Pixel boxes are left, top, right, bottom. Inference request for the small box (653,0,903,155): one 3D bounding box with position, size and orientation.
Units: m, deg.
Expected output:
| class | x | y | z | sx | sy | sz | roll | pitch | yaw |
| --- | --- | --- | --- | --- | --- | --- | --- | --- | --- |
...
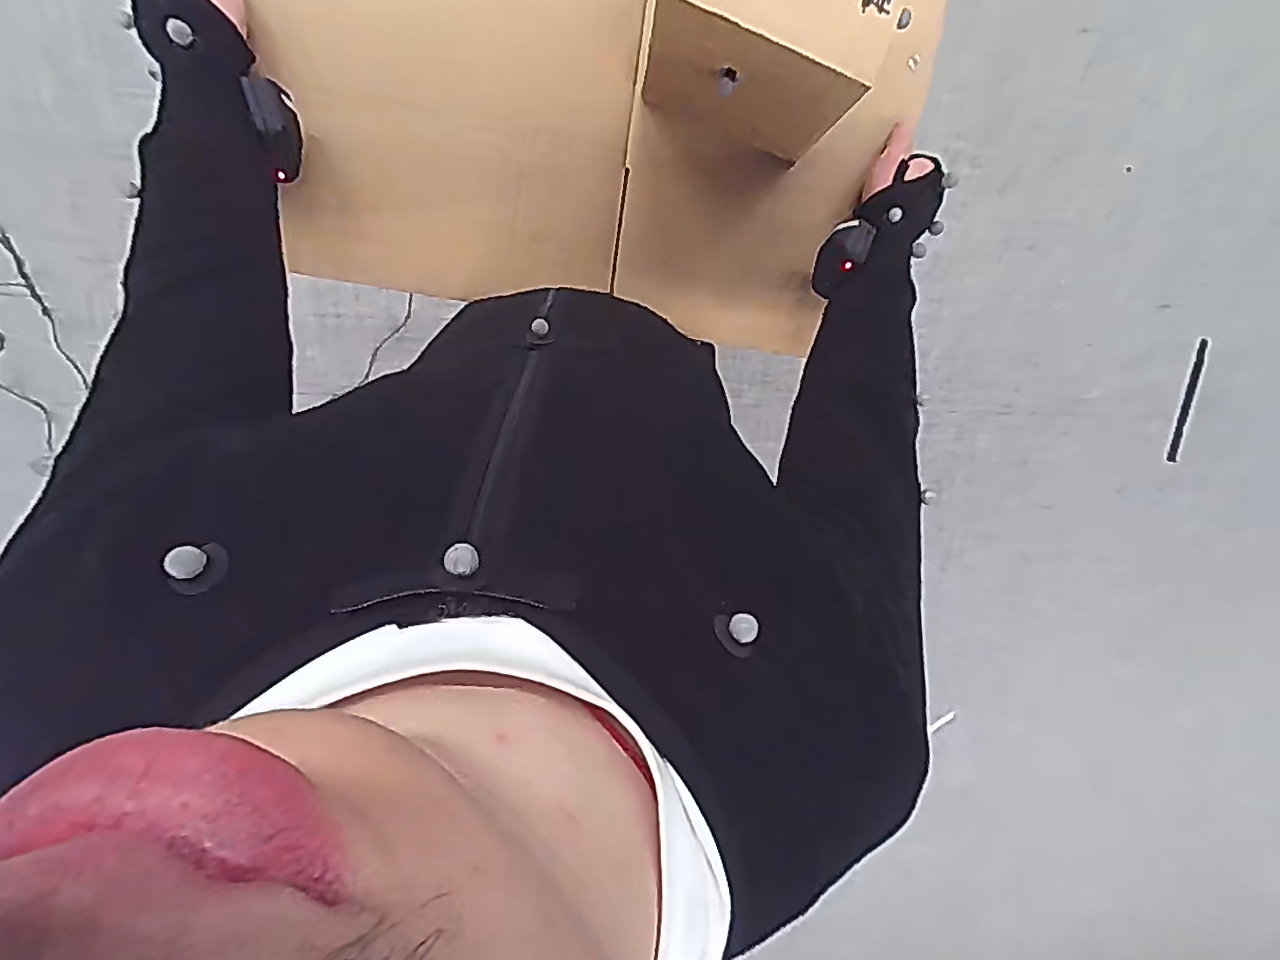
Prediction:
| class | x | y | z | sx | sy | sz | roll | pitch | yaw |
| --- | --- | --- | --- | --- | --- | --- | --- | --- | --- |
| small box | 0.118 | -0.419 | 0.471 | 0.179 | 0.176 | 0.168 | 18 | 101 | -7 |
